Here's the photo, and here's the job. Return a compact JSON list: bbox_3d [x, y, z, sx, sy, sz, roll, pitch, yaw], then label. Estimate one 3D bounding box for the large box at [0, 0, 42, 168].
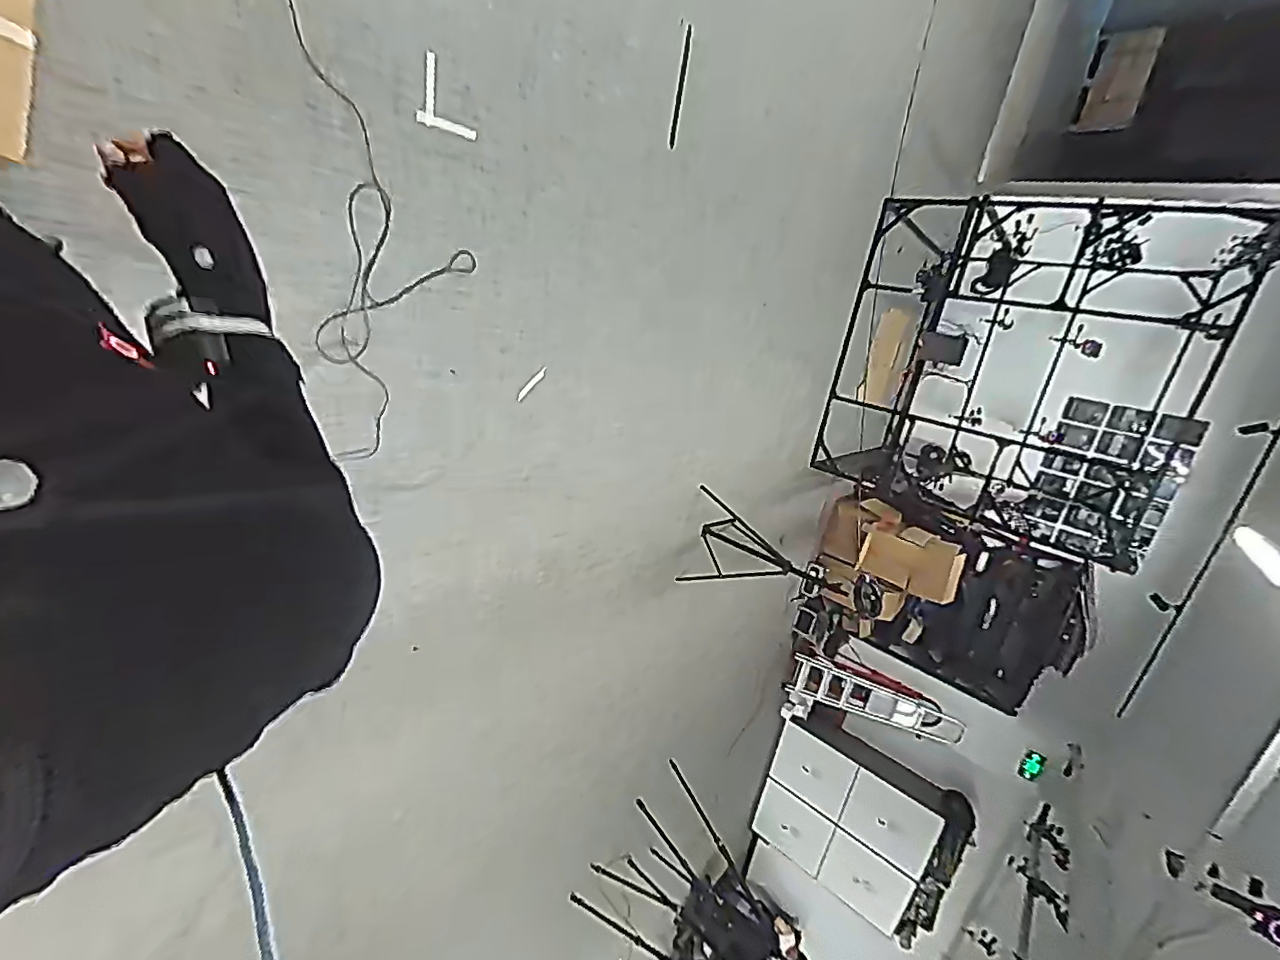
[{"bbox_3d":[-1.034,-0.631,0.644,0.408,0.320,0.320,3,104,-54],"label":"large box"}]
